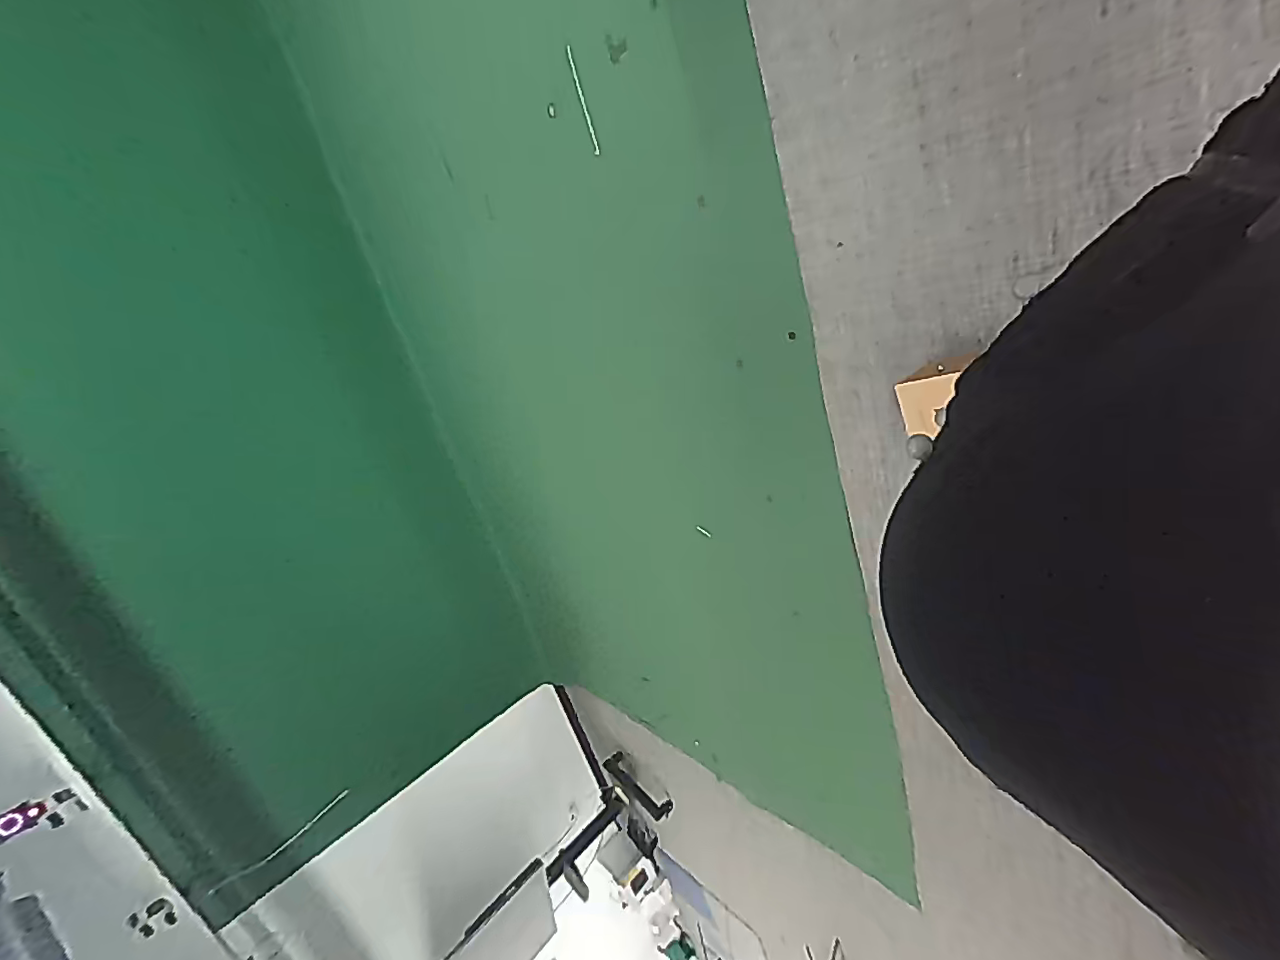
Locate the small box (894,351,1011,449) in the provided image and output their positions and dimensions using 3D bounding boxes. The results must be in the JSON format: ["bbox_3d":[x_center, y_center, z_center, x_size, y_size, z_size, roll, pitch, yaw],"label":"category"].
[{"bbox_3d":[0.726,-0.184,1.247,0.179,0.176,0.168,-5,109,54],"label":"small box"}]
